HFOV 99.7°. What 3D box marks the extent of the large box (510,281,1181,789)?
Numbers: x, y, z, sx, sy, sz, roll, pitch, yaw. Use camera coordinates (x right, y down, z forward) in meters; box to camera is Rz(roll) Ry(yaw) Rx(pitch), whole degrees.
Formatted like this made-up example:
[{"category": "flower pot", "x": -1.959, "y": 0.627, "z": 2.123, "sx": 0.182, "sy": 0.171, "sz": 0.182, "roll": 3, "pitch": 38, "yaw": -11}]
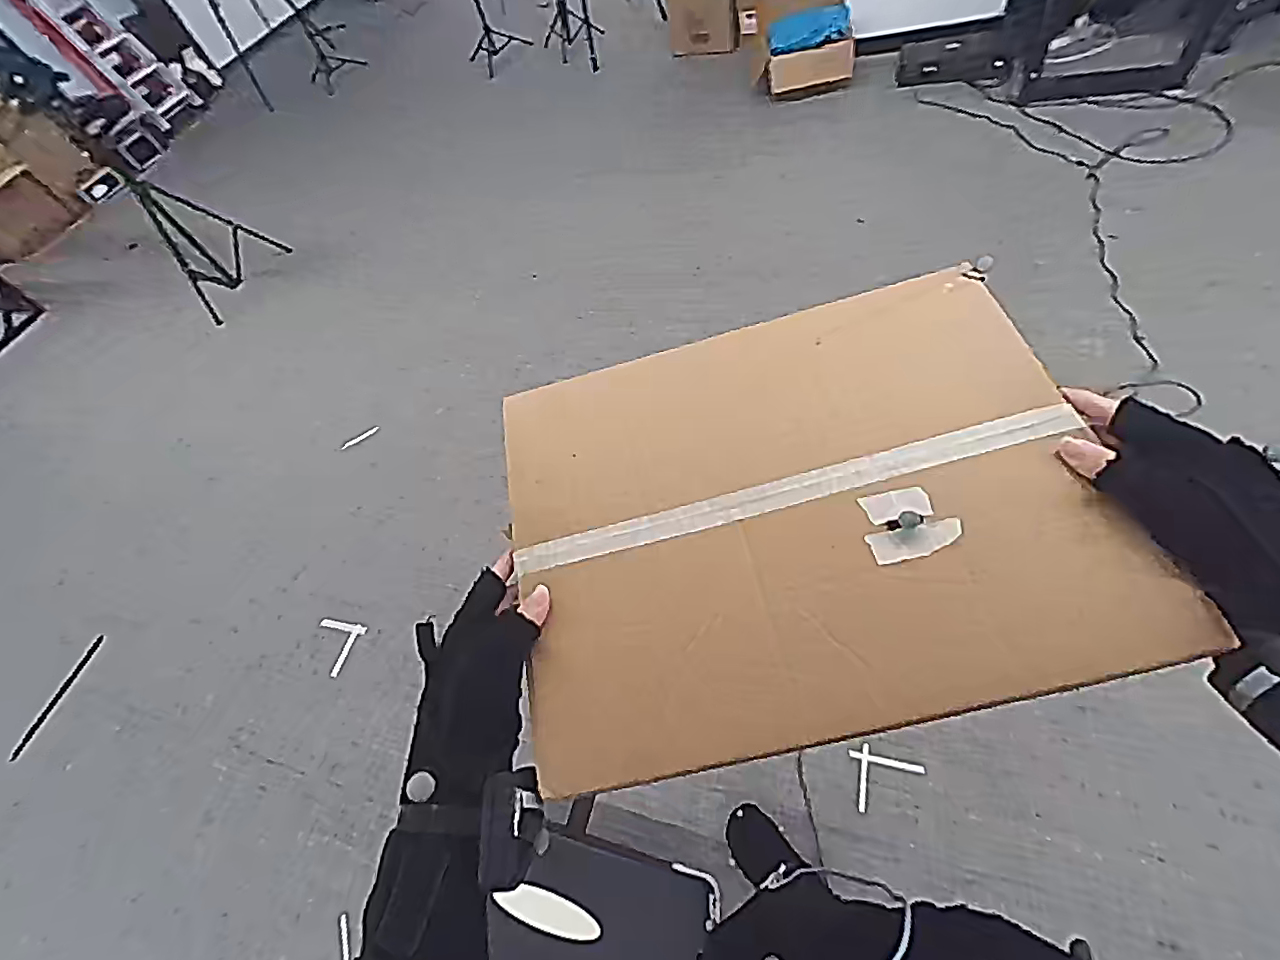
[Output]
[{"category": "large box", "x": 0.129, "y": 0.079, "z": 0.533, "sx": 0.408, "sy": 0.320, "sz": 0.320, "roll": -16, "pitch": 62, "yaw": 4}]
